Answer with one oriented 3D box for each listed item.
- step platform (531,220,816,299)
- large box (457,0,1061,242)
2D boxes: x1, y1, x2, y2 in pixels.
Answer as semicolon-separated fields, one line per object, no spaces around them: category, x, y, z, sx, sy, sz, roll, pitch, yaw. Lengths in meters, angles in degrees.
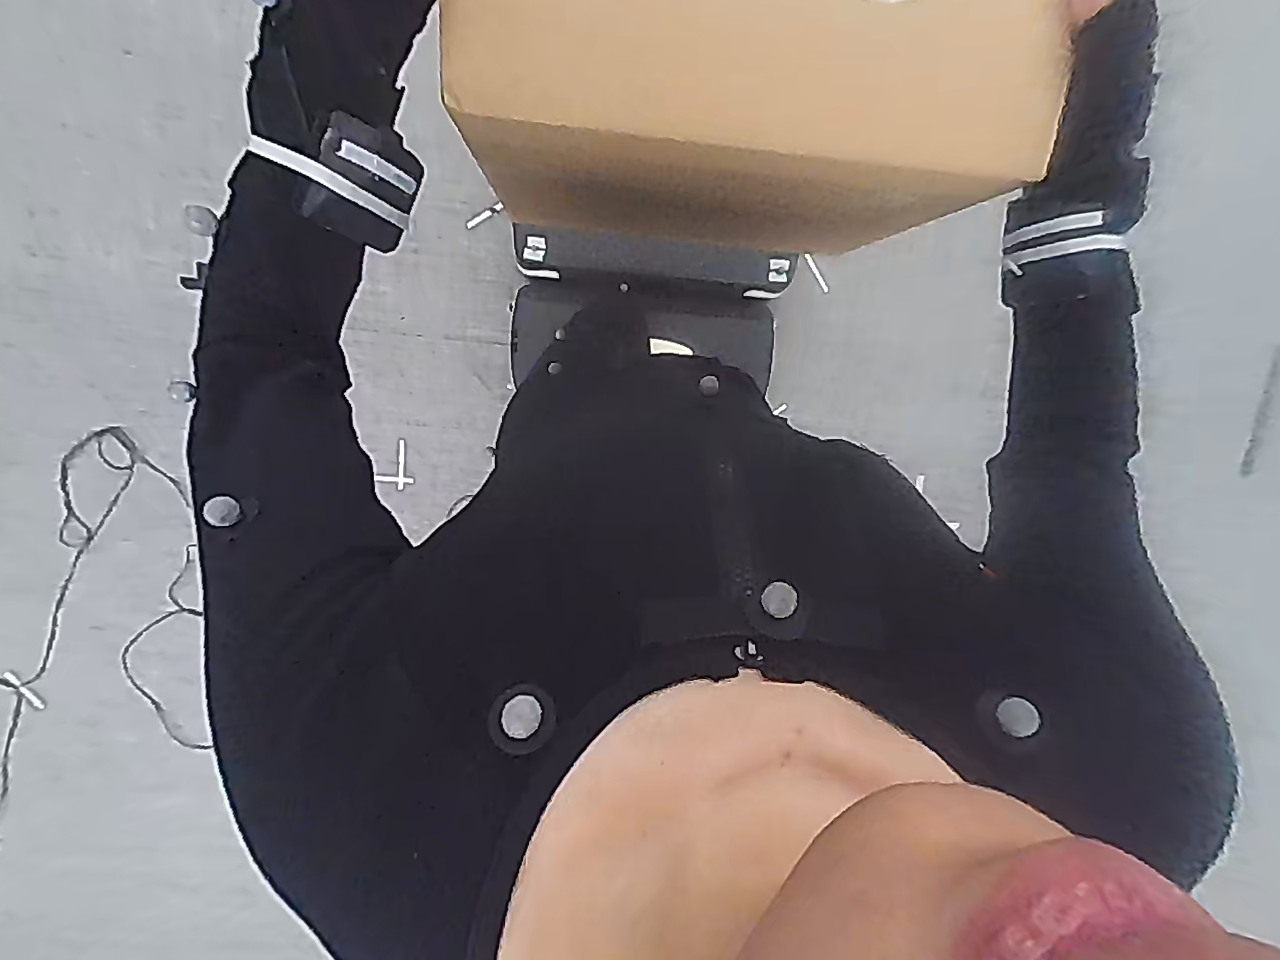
step platform;0.079;-0.621;1.317;0.684;0.204;0.286;3;100;-5
large box;0.072;-0.413;0.473;0.408;0.320;0.320;2;104;-7
